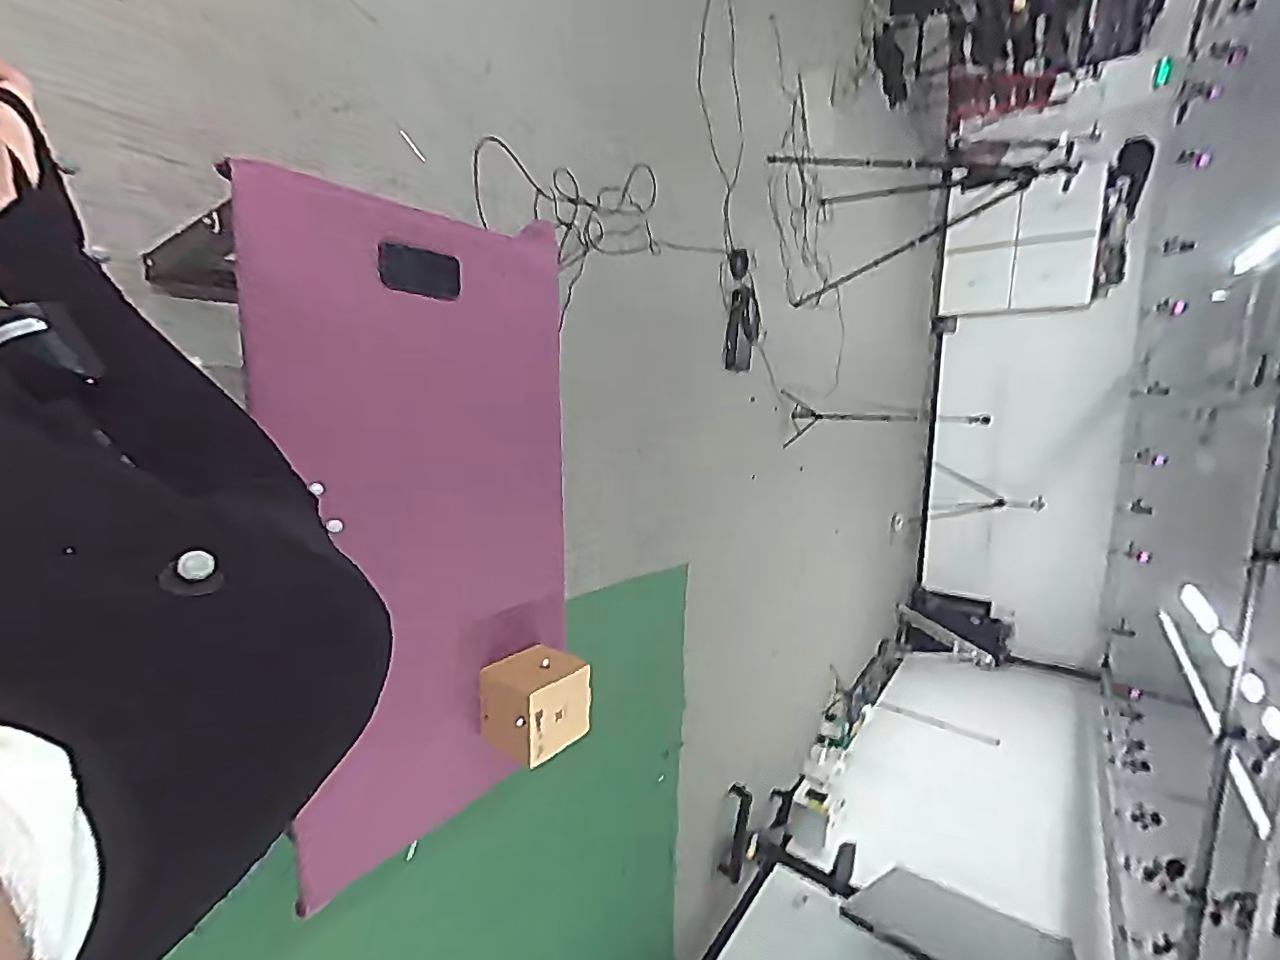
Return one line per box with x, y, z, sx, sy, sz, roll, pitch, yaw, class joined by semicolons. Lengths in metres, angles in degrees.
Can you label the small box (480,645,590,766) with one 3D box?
-0.232;0.487;1.201;0.179;0.176;0.168;-8;102;-52;small box
